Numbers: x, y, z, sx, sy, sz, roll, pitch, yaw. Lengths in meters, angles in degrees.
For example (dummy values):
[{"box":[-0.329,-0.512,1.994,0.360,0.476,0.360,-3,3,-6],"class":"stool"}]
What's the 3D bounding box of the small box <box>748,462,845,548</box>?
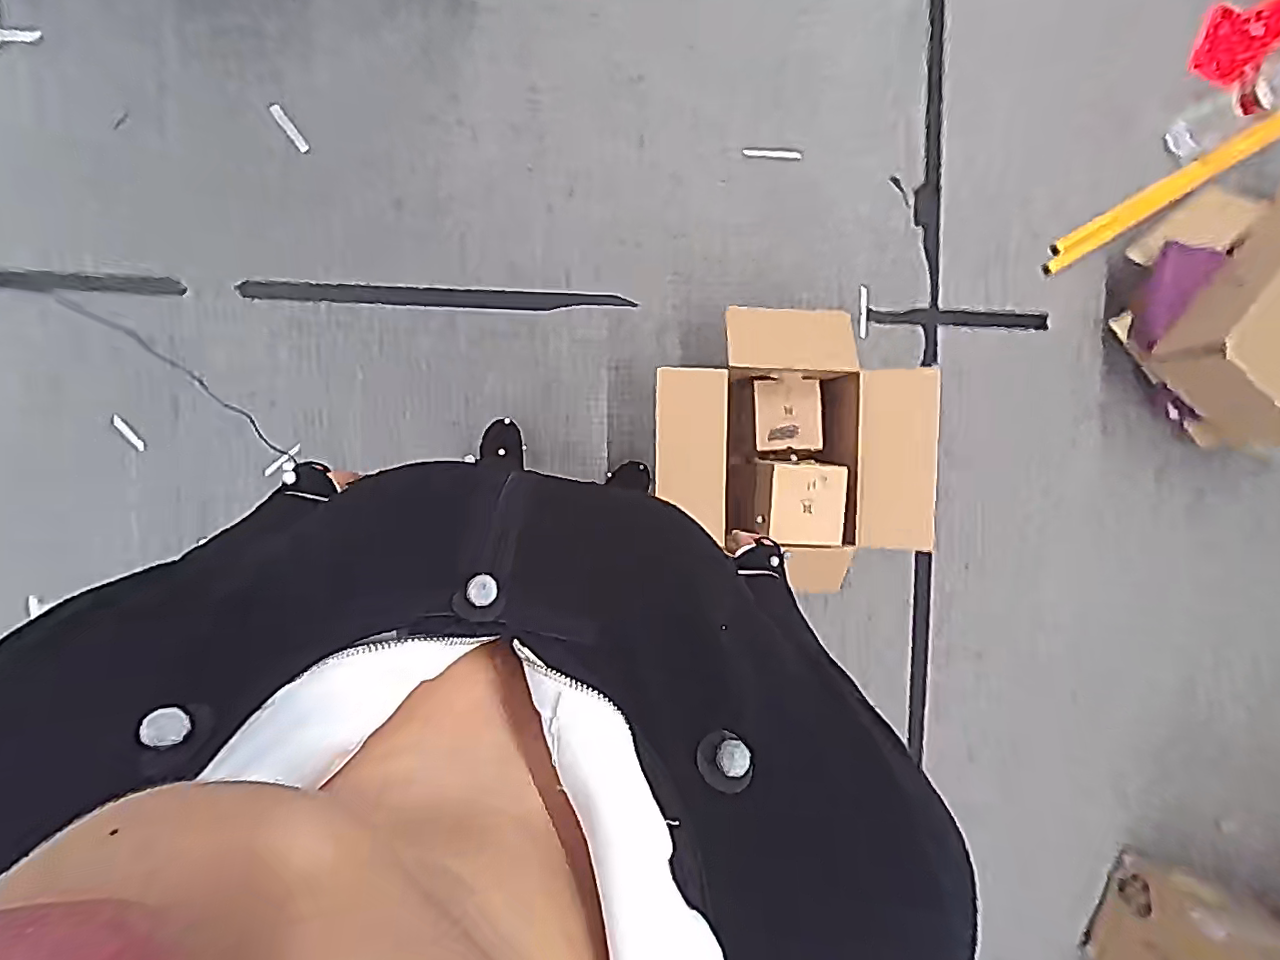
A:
[{"box":[0.354,0.053,1.254,0.168,0.176,0.179,3,94,-4],"class":"small box"}]
